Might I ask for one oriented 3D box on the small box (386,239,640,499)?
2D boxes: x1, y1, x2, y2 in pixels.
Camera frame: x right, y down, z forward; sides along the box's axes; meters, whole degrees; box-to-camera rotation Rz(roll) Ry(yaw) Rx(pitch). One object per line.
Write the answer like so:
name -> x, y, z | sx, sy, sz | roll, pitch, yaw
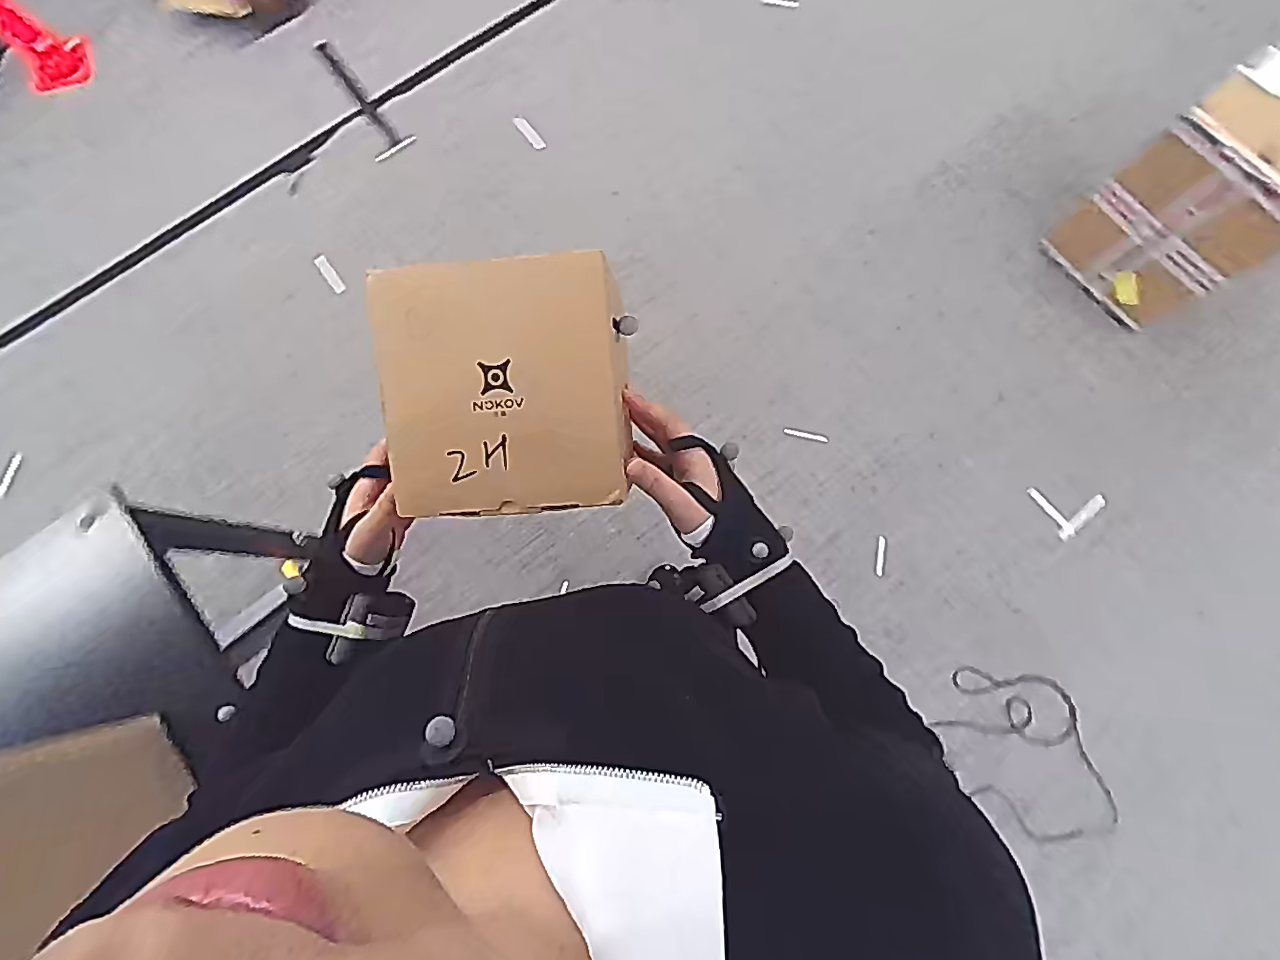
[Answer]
small box -> -0.088, -0.084, 0.460 | 0.168, 0.176, 0.179 | -3, 97, 4
